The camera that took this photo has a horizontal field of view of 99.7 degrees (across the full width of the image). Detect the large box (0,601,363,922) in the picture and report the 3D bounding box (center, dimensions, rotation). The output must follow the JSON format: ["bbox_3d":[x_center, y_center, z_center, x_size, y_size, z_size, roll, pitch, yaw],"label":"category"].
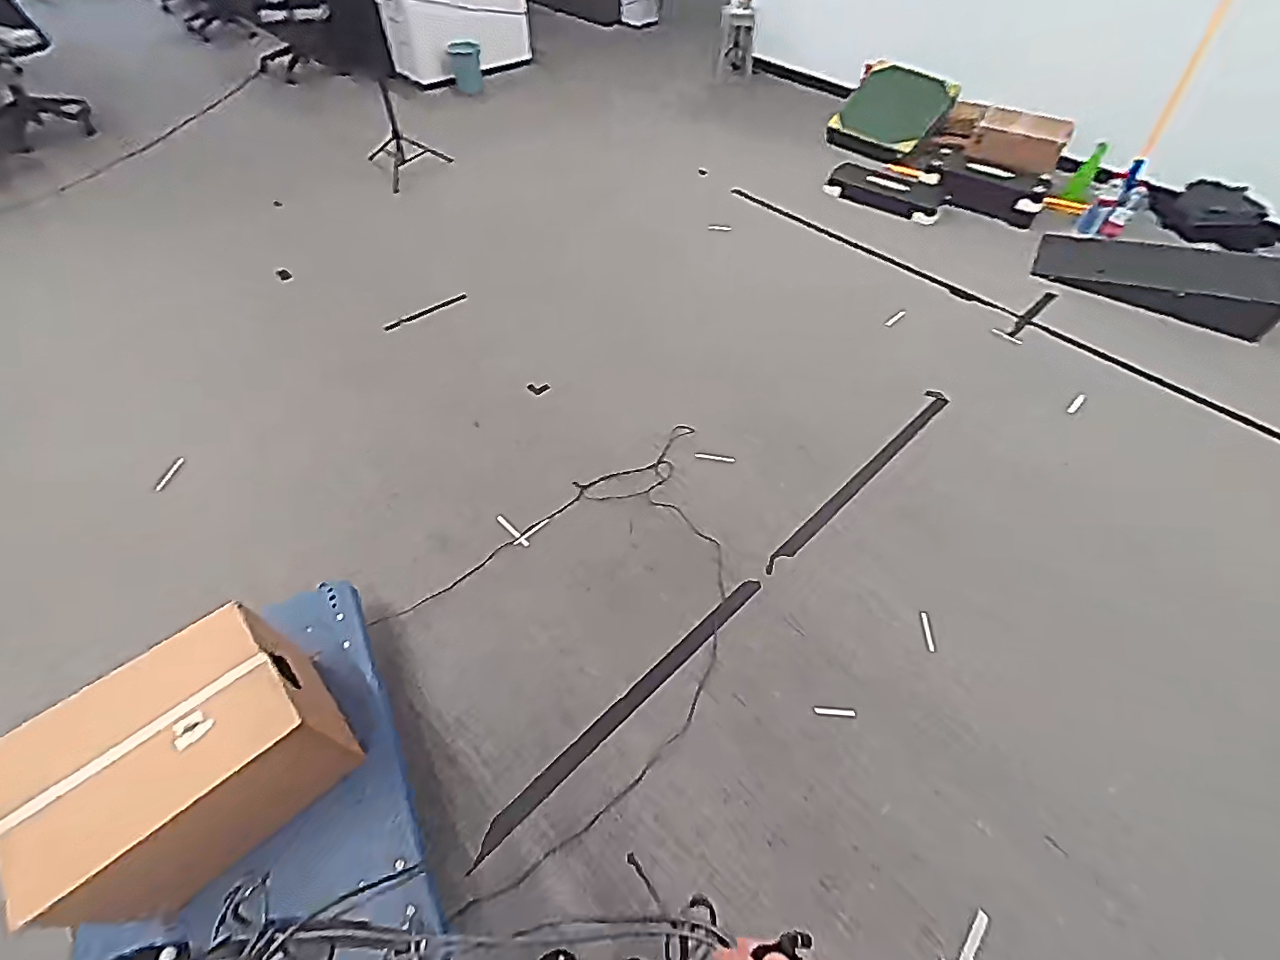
[{"bbox_3d":[-0.830,0.522,1.020,0.408,0.320,0.320,-36,62,-27],"label":"large box"}]
